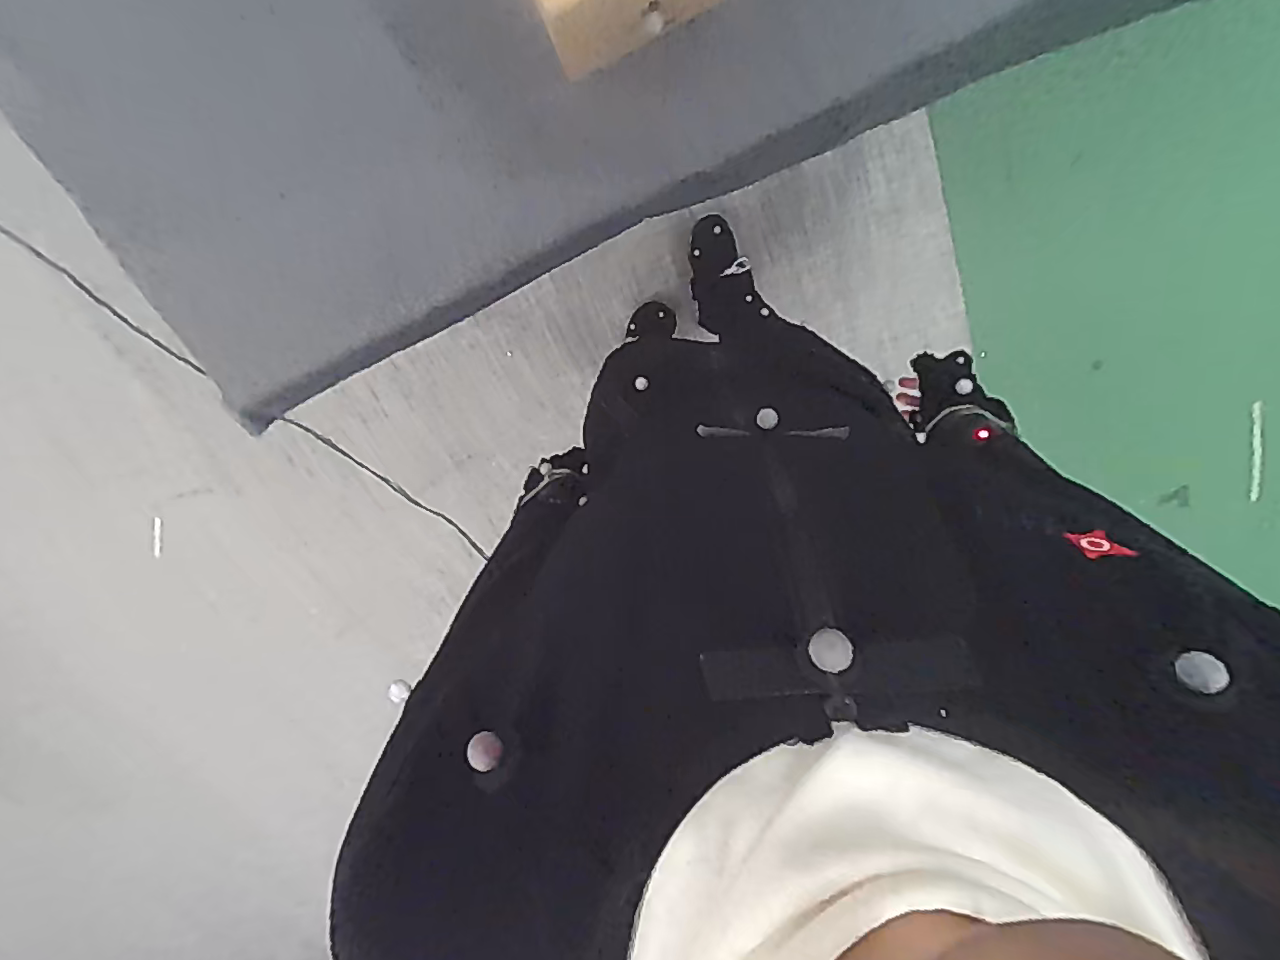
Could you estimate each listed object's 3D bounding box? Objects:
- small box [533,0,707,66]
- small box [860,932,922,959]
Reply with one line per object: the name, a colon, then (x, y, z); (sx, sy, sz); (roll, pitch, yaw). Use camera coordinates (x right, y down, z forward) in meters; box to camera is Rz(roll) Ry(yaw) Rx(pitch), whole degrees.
small box: (-0.030, -0.457, 0.411); (0.168, 0.176, 0.179); (-24, 111, 10)
small box: (0.855, 1.634, 1.780); (0.179, 0.176, 0.168); (-23, 110, 11)
